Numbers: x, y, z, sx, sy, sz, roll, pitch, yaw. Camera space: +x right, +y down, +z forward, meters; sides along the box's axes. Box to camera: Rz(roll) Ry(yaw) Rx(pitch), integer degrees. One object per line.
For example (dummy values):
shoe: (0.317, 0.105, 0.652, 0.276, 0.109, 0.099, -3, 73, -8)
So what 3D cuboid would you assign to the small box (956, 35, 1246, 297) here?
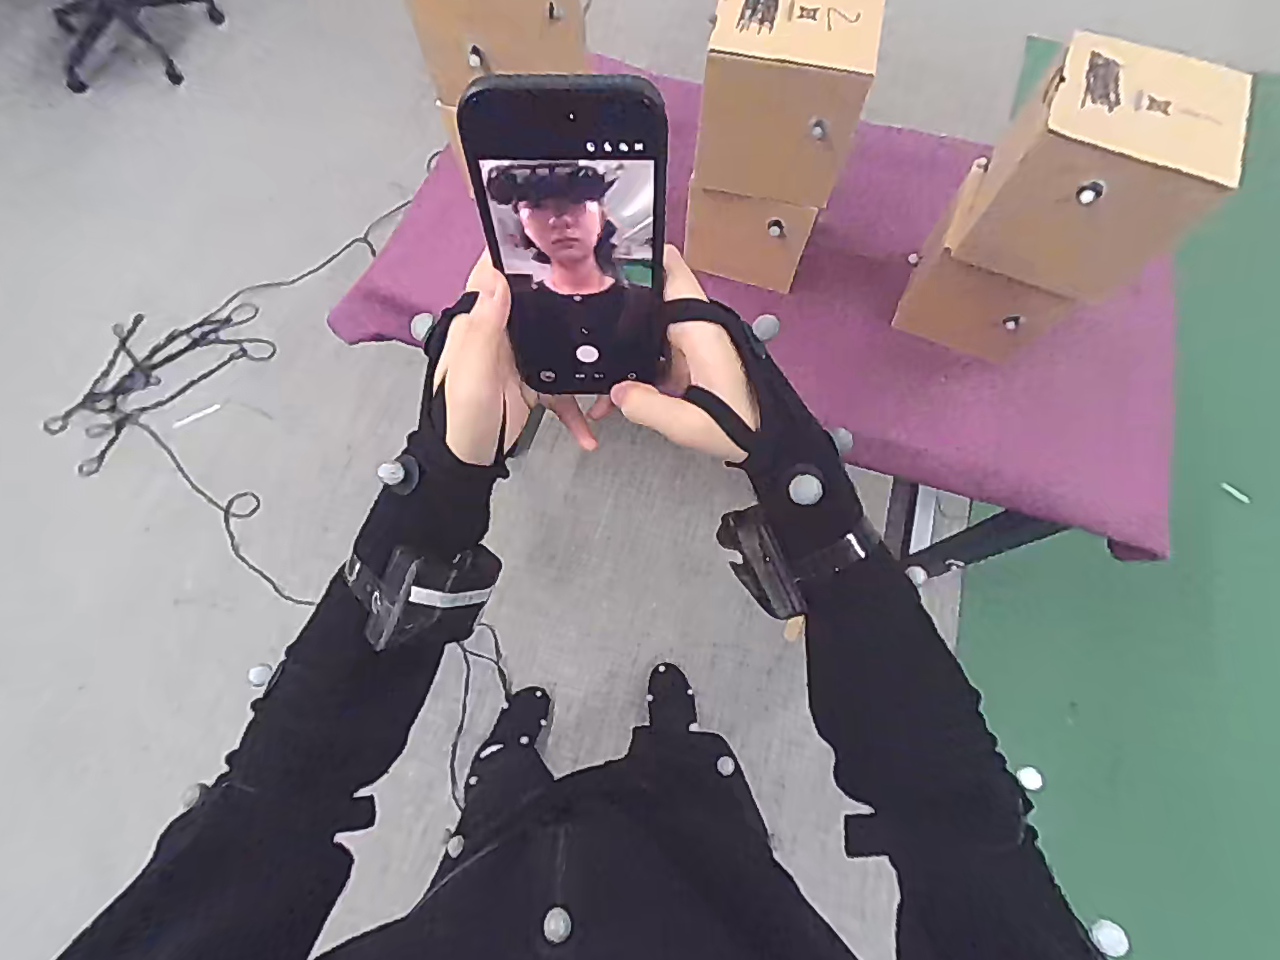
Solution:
small box: (0.492, -0.336, 0.602, 0.179, 0.176, 0.168, 24, 72, 9)

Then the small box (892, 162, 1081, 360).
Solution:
small box: (0.493, -0.296, 0.761, 0.179, 0.176, 0.168, 24, 72, 10)

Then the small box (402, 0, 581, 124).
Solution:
small box: (-0.185, -0.617, 0.719, 0.168, 0.176, 0.179, 14, 71, 6)

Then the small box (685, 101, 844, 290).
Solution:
small box: (0.177, -0.414, 0.810, 0.179, 0.176, 0.168, 18, 71, 8)

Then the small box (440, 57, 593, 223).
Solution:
small box: (-0.184, -0.553, 0.870, 0.168, 0.176, 0.179, 19, 71, 8)
